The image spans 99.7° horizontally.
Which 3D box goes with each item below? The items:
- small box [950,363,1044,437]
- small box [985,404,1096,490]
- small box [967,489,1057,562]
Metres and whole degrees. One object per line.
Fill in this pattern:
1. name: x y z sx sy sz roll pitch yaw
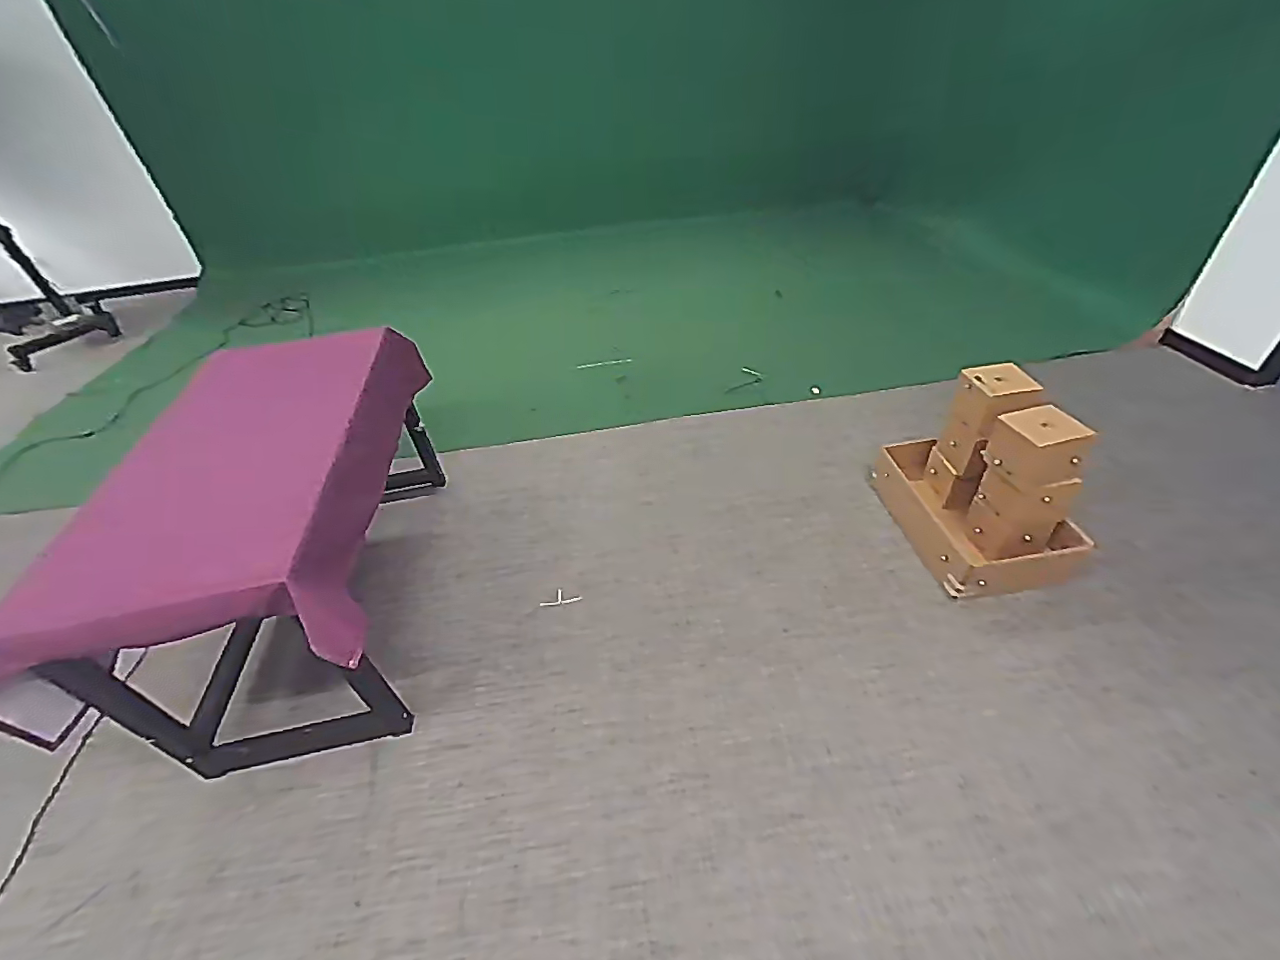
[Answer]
1. small box: 1.161 -0.261 1.774 0.179 0.176 0.168 -8 41 -1
2. small box: 1.162 -0.096 1.585 0.179 0.176 0.168 -13 40 -4
3. small box: 1.219 0.152 1.793 0.179 0.176 0.168 -9 41 -2
